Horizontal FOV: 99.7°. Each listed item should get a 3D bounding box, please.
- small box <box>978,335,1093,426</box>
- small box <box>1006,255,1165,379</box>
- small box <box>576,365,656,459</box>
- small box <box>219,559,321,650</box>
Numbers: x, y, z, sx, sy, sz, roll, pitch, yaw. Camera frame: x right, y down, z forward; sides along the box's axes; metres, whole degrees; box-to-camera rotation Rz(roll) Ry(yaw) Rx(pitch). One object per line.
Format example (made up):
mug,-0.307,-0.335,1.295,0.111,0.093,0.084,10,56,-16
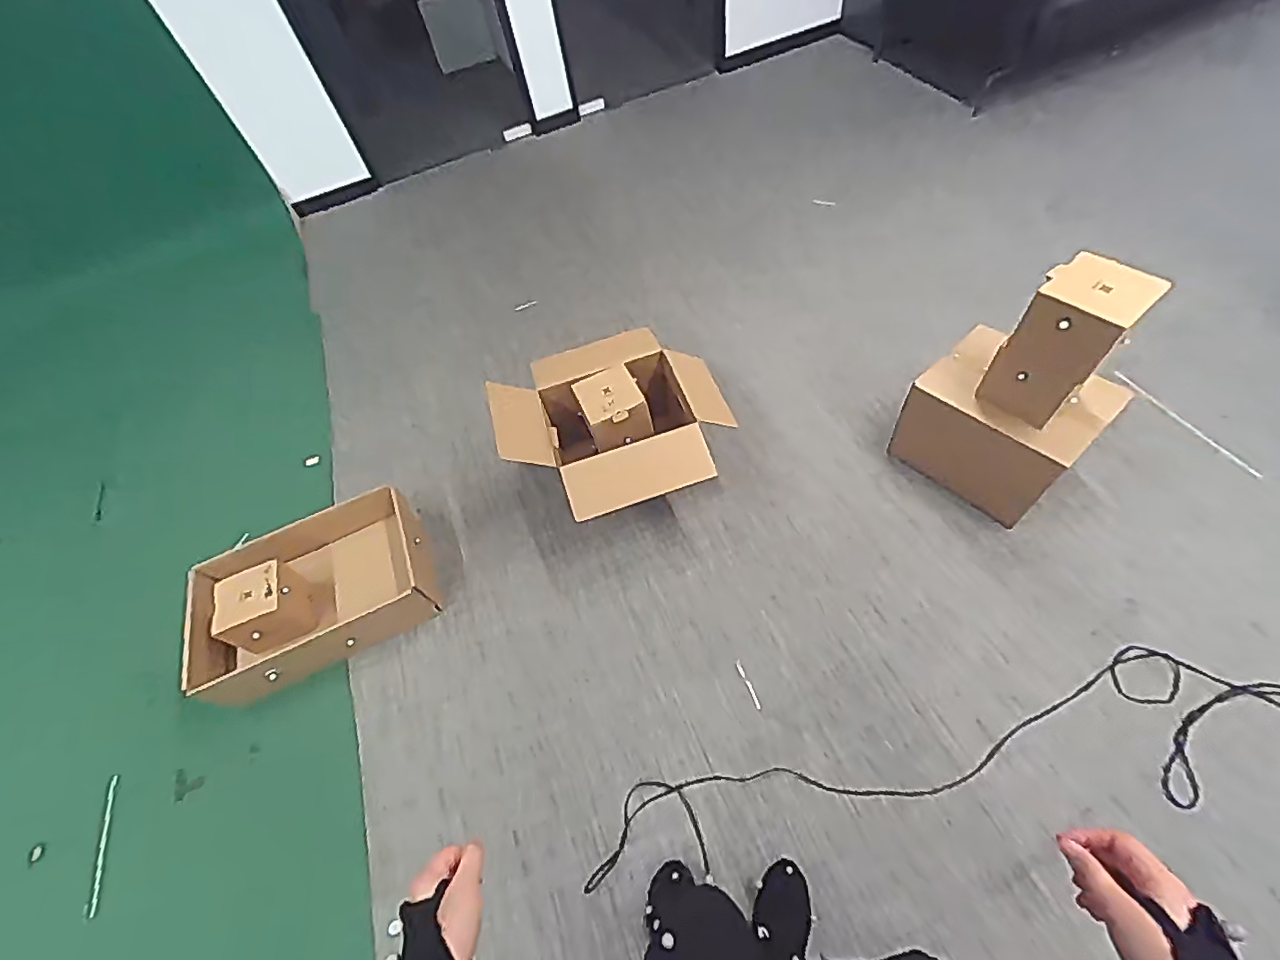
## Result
small box,0.965,-0.263,1.309,0.168,0.176,0.179,-39,59,-14
small box,0.948,-0.344,1.168,0.168,0.176,0.179,-38,58,-14
small box,-0.068,-0.195,1.580,0.168,0.176,0.179,-25,56,-4
small box,-1.043,0.359,1.536,0.179,0.176,0.168,-23,55,-7
